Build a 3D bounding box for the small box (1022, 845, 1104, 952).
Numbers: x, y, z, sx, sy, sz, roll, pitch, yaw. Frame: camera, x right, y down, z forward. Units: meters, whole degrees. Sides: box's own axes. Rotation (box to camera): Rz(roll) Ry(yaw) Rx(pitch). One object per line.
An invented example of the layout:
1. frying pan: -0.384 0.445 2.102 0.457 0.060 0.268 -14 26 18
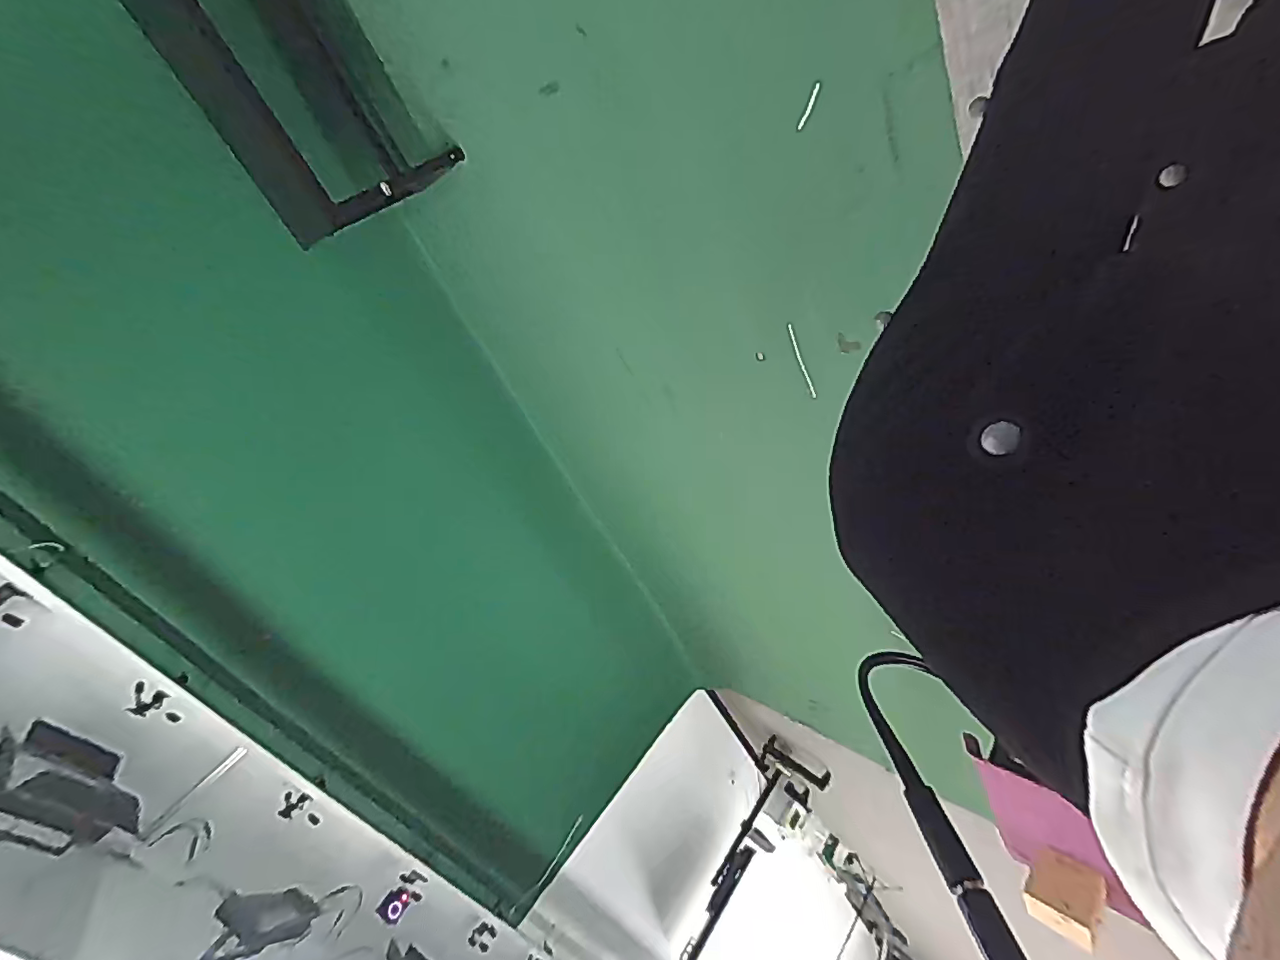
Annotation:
1. small box: 1.307 1.282 1.666 0.168 0.176 0.179 8 135 49
